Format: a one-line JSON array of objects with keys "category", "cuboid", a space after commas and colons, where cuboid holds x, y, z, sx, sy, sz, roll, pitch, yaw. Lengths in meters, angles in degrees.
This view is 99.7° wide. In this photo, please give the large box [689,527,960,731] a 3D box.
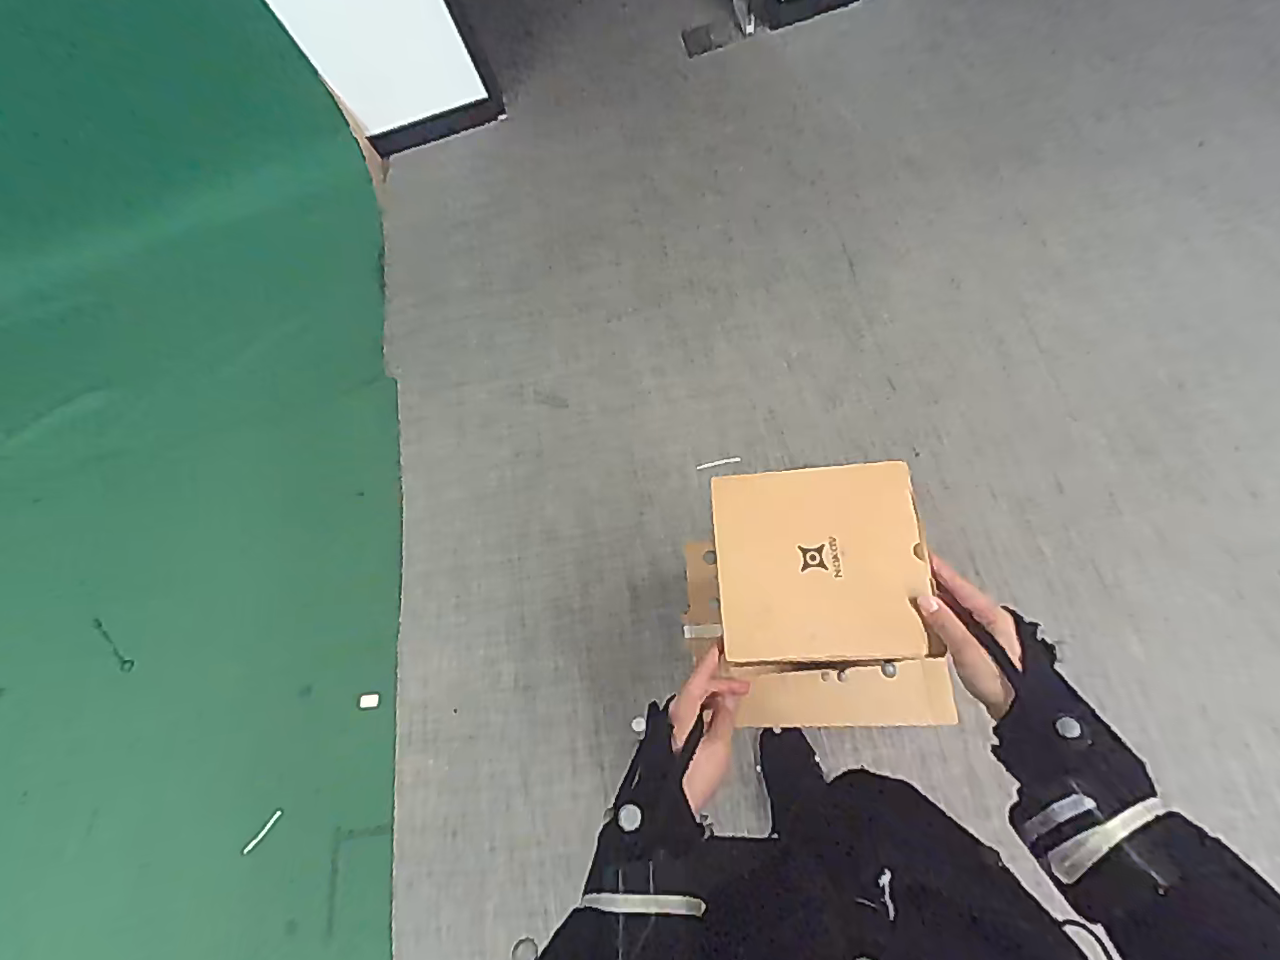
[{"category": "large box", "cuboid": [0.318, 0.294, 1.046, 0.408, 0.320, 0.320, -6, 71, 9]}]

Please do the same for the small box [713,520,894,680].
[{"category": "small box", "cuboid": [0.192, 0.158, 0.681, 0.179, 0.176, 0.168, -9, 68, 10]}]
